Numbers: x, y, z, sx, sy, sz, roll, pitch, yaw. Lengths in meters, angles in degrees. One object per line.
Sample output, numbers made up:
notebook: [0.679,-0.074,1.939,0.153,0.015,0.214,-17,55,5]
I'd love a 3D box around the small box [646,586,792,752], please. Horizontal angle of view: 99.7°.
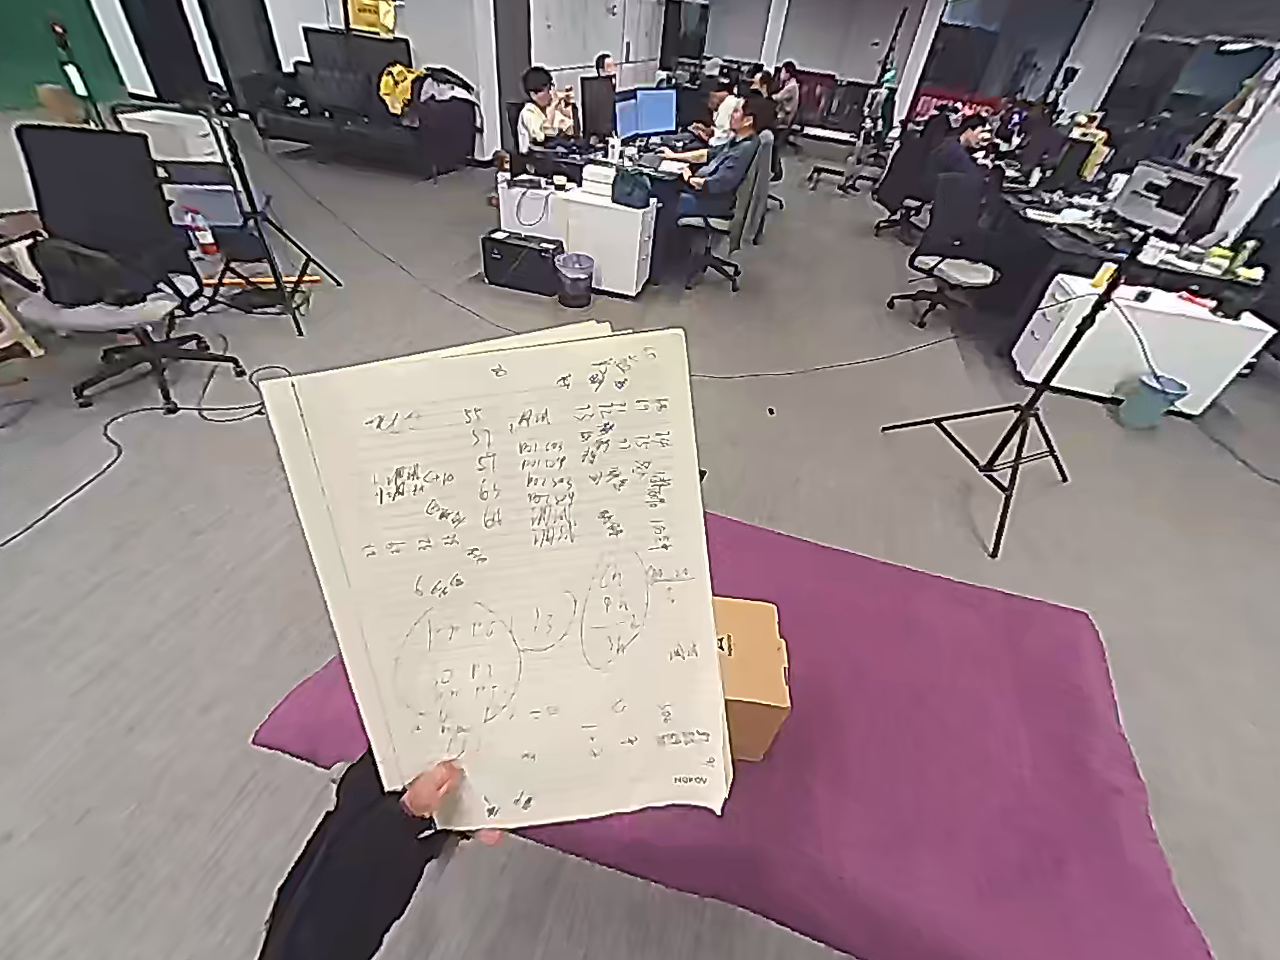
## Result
small box: [0.109,0.285,0.812,0.179,0.176,0.168,7,39,-1]
